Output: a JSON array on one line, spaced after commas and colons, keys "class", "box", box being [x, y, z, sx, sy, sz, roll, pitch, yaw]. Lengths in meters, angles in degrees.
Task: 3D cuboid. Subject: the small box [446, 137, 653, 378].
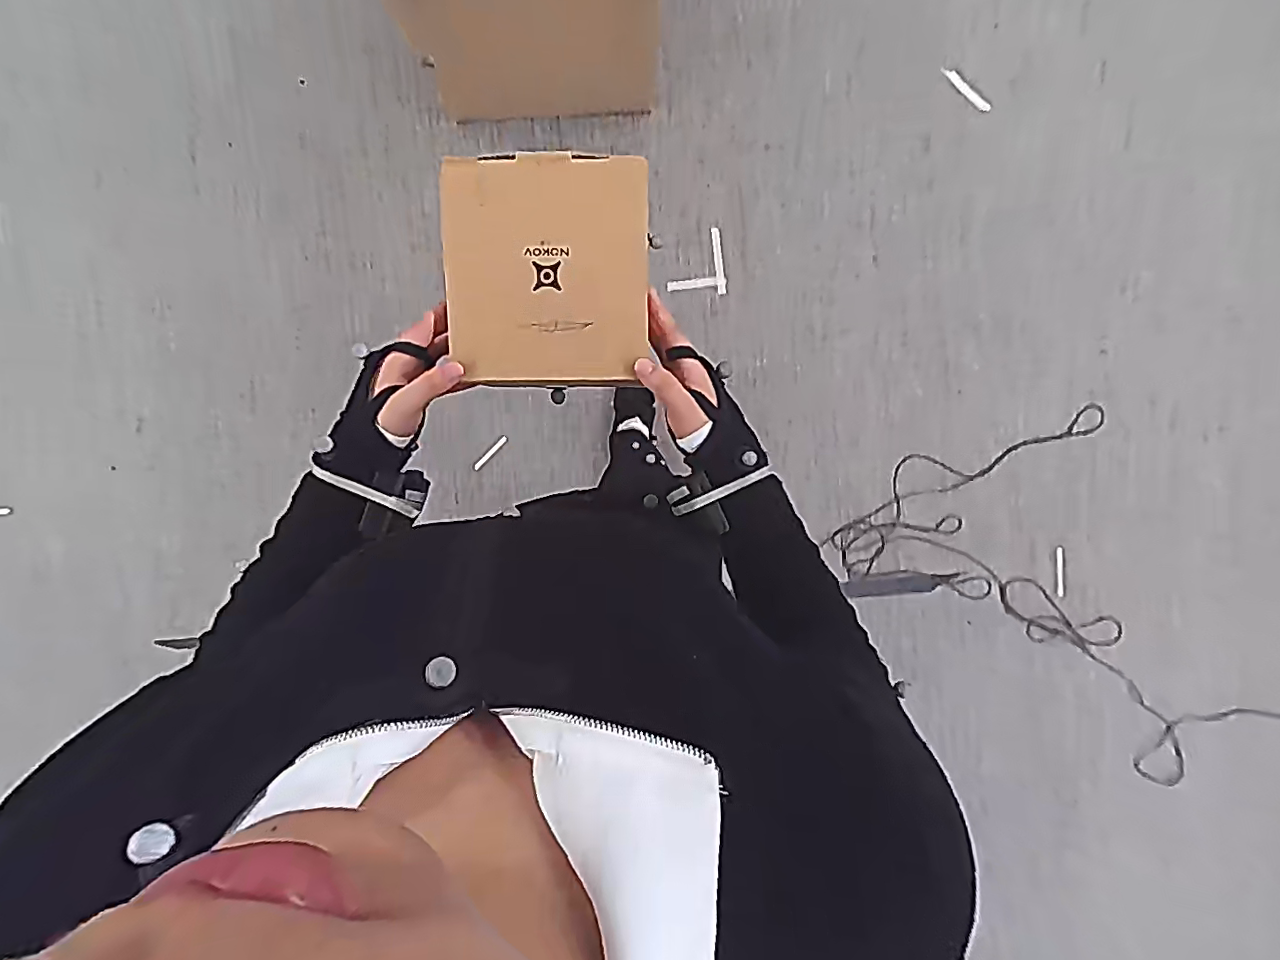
[{"class": "small box", "box": [-0.074, -0.192, 0.514, 0.168, 0.176, 0.179, 0, 97, 0]}]
